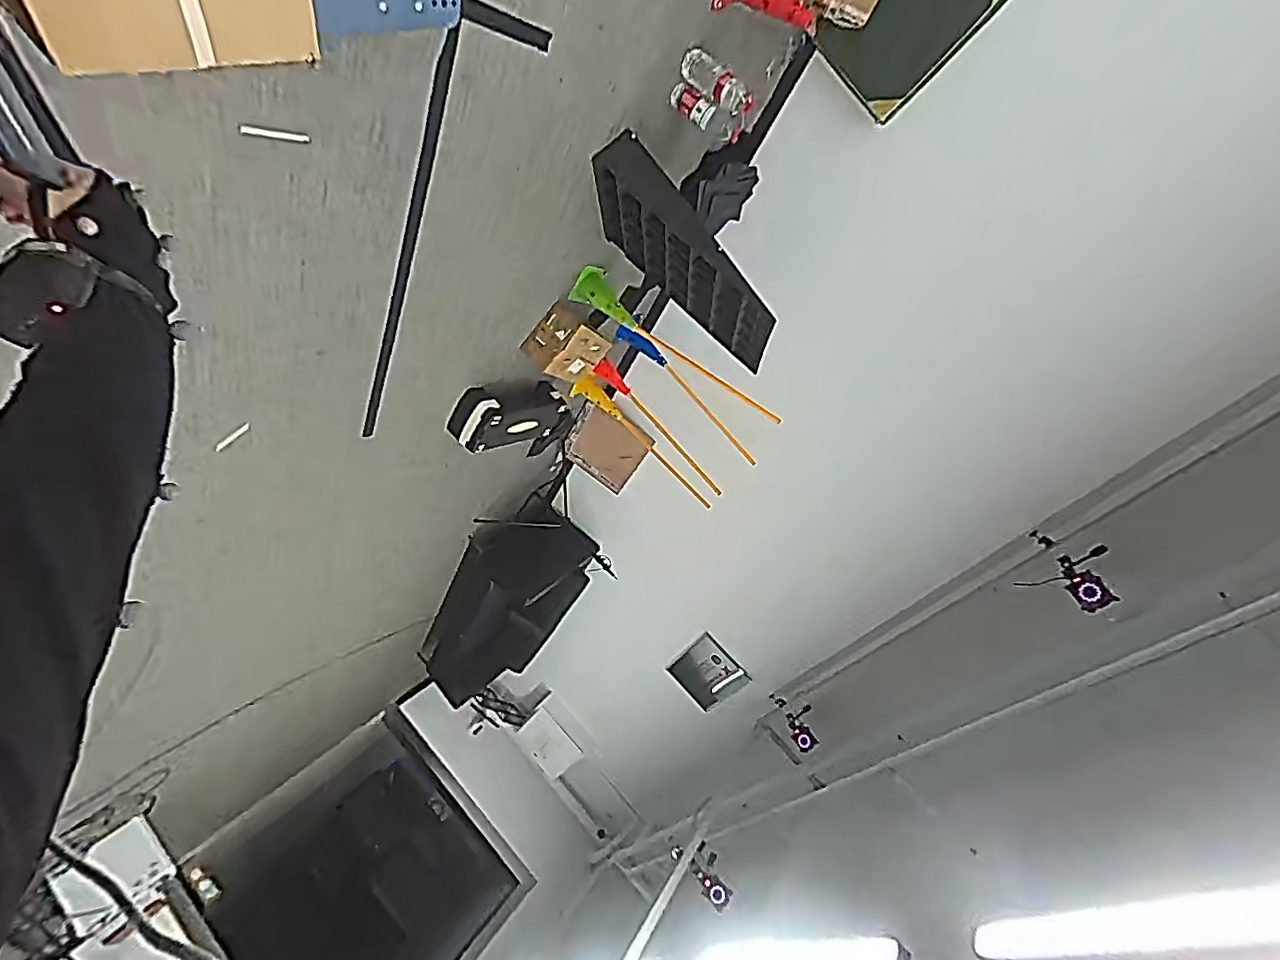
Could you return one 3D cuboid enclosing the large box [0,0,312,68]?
[{"bbox_3d":[-0.629,-0.765,0.584,0.320,0.320,0.408,-37,169,-35],"label":"large box"}]
